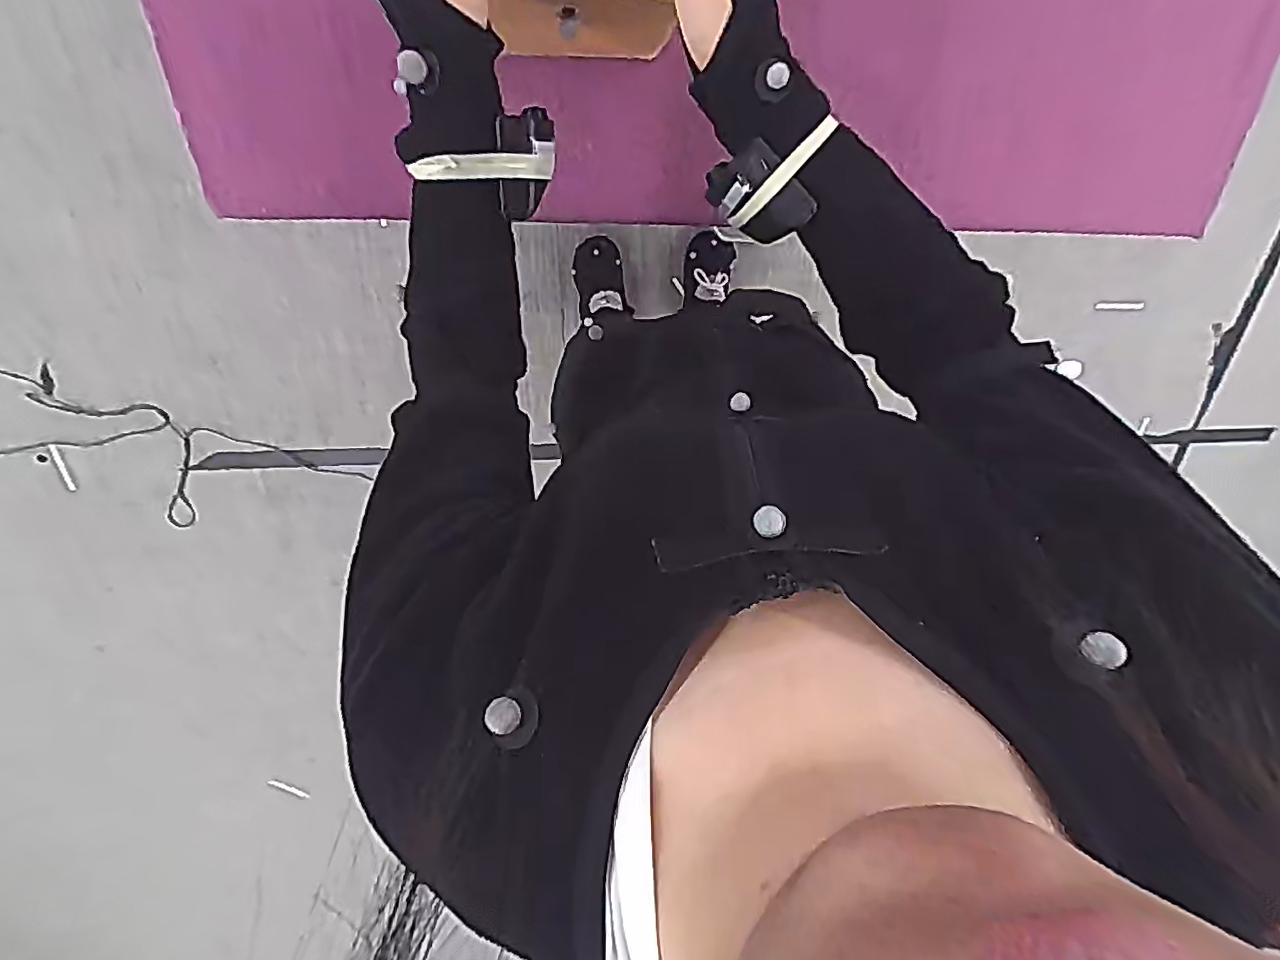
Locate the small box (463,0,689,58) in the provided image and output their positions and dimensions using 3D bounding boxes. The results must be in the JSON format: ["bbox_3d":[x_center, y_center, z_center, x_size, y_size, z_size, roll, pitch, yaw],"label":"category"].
[{"bbox_3d":[-0.058,-0.470,0.443,0.179,0.176,0.168,-3,116,-7],"label":"small box"}]
